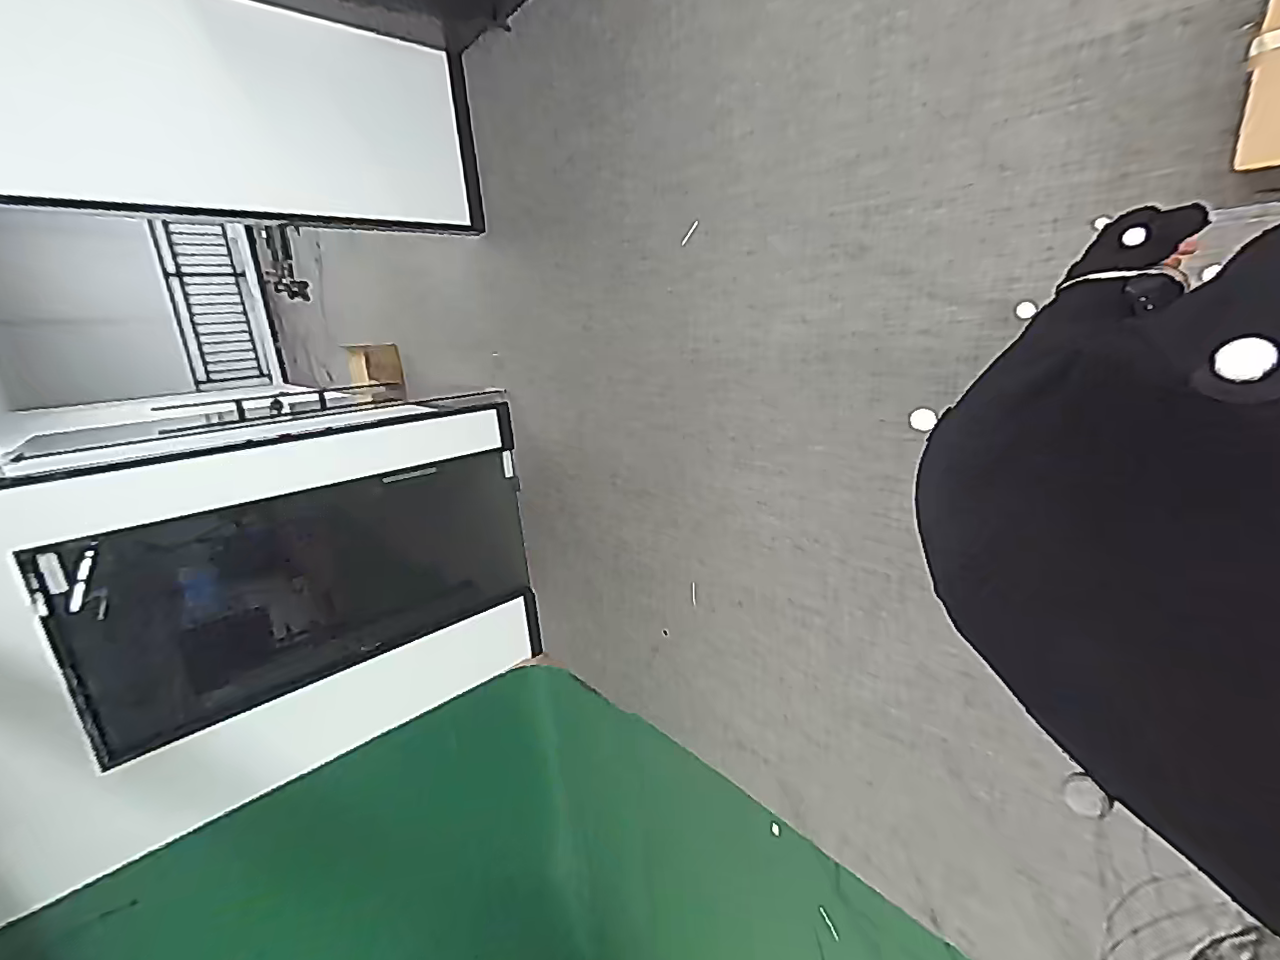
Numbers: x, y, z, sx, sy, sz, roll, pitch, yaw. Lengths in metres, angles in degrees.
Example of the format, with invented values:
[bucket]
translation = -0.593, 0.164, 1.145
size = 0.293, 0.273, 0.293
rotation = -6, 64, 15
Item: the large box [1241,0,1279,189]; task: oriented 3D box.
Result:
[large box]
translation = 1.084, -0.595, 0.678
size = 0.408, 0.320, 0.320
rotation = 14, 115, 47
